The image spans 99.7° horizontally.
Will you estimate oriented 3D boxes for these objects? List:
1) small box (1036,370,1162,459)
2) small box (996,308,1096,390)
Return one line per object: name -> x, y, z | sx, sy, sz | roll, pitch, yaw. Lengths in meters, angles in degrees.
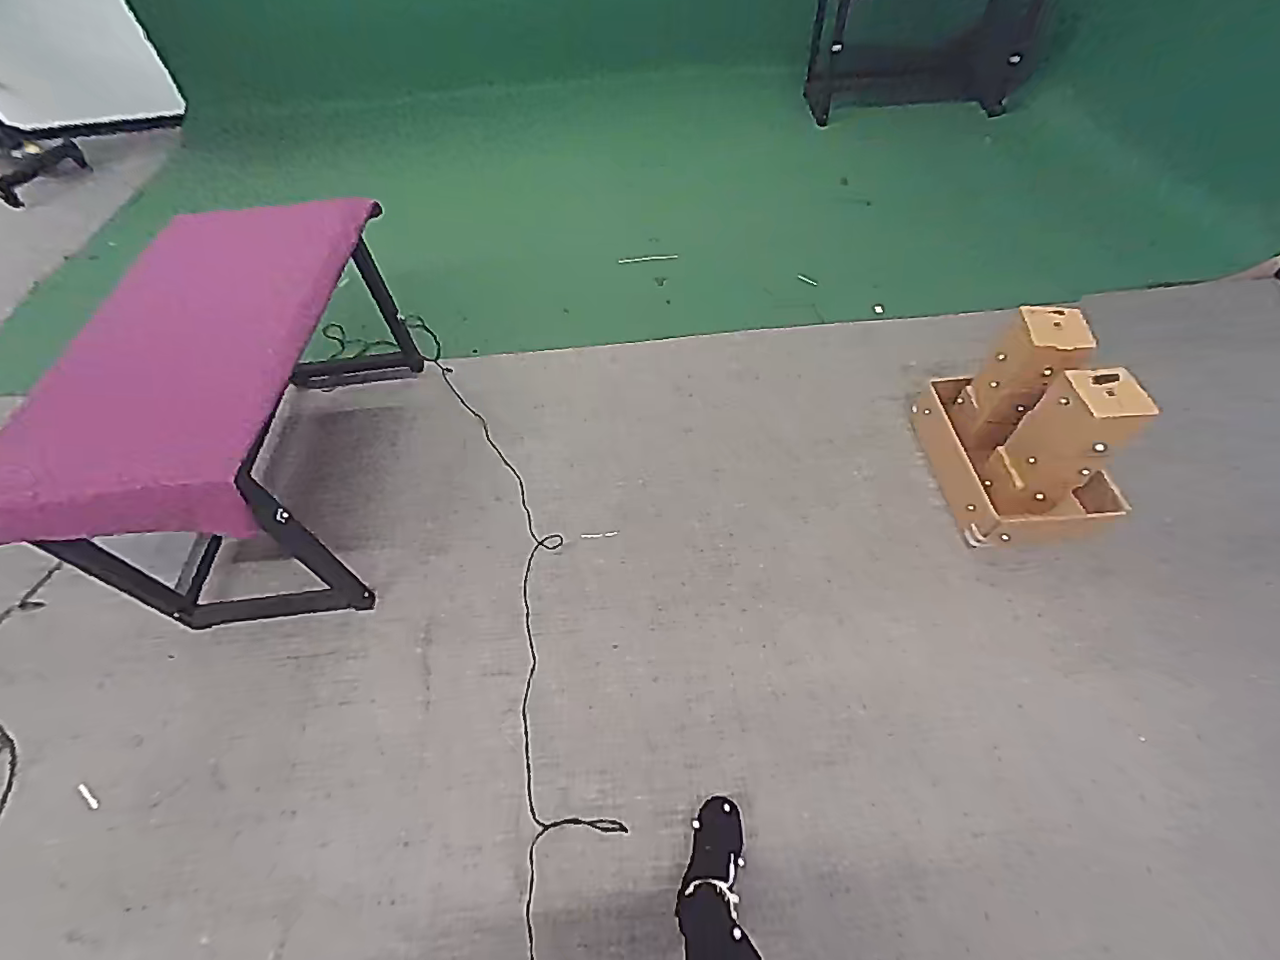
small box -> 1.235, -0.177, 1.474 | 0.168, 0.176, 0.179 | -3, 54, 2
small box -> 1.212, -0.390, 1.627 | 0.168, 0.176, 0.179 | 6, 57, 8
